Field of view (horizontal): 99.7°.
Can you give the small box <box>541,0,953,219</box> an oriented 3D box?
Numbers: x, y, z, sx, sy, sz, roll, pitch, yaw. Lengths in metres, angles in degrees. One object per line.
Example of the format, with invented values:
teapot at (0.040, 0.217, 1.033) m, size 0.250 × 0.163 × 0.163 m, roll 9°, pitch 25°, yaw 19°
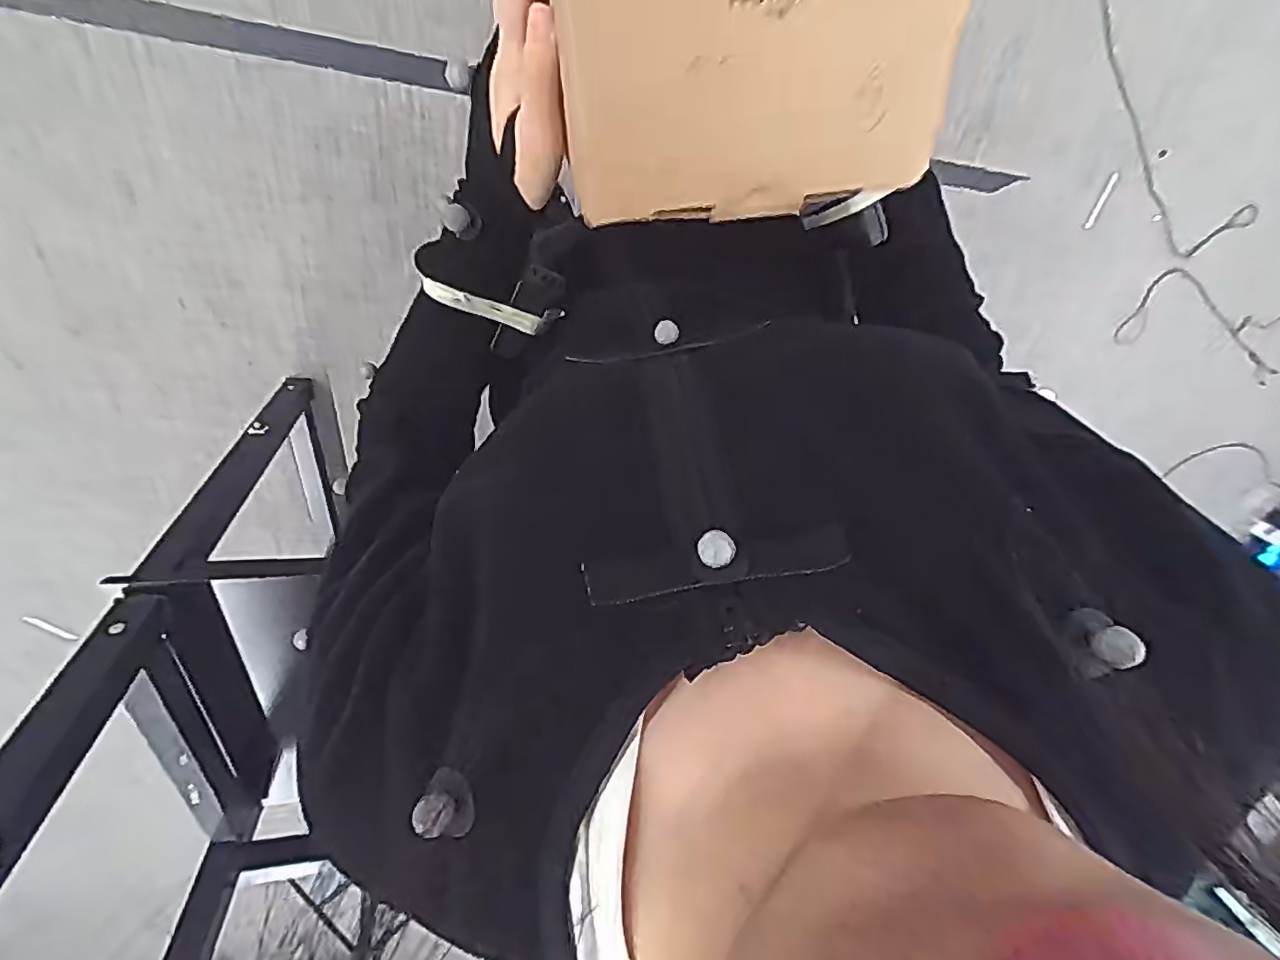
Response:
small box at (0.035, -0.253, 0.262) m, size 0.168 × 0.176 × 0.179 m, roll -9°, pitch 135°, yaw -4°
